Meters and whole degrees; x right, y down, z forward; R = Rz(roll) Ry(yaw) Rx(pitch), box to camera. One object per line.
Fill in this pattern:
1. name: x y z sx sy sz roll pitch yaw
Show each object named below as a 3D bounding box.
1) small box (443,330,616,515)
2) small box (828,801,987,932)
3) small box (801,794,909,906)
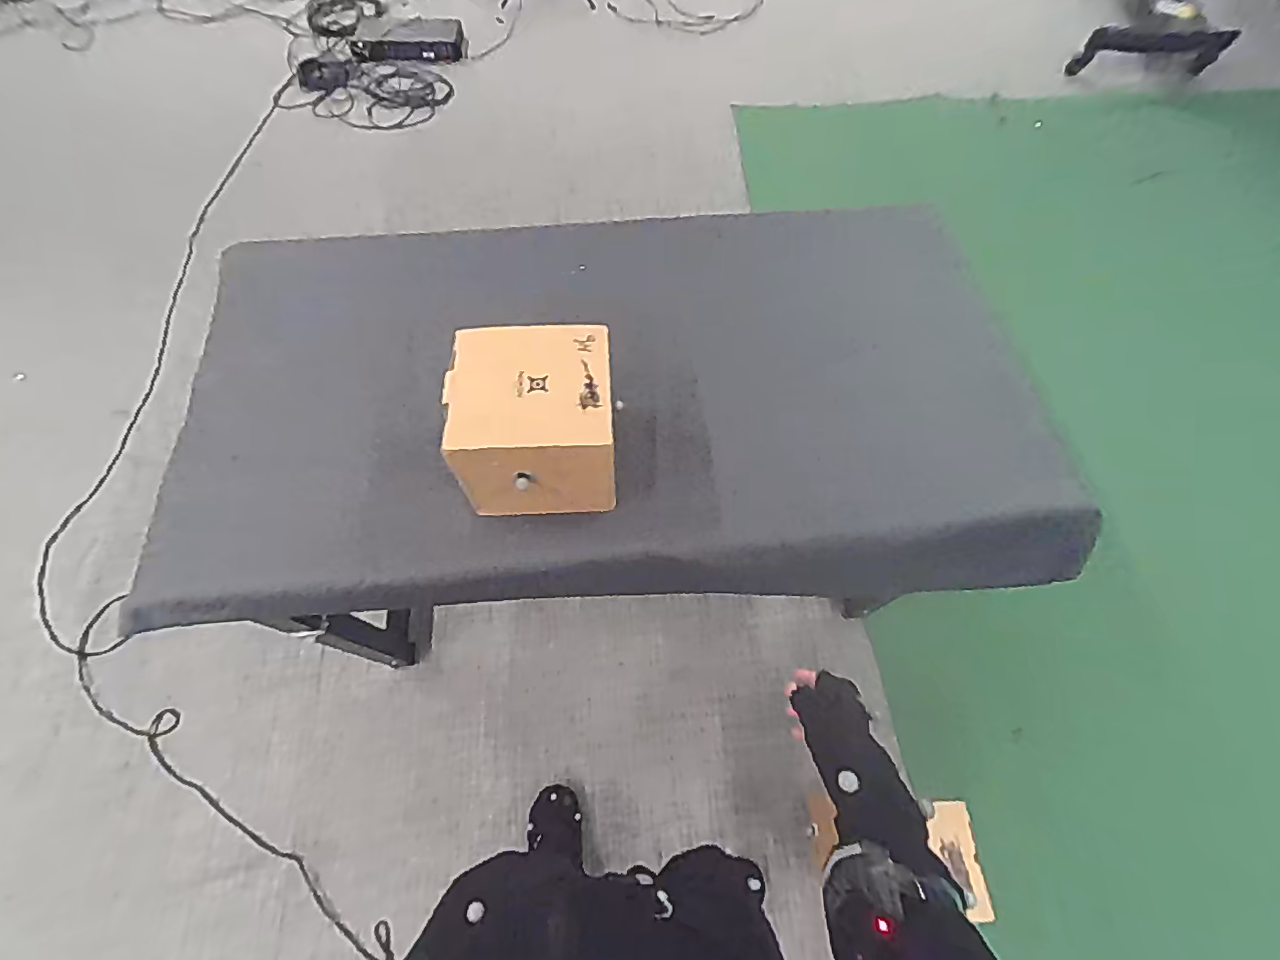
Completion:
1. small box: -0.120 -0.063 0.663 0.179 0.176 0.168 -2 63 -2
2. small box: 0.453 0.664 0.946 0.179 0.176 0.168 -1 62 -1
3. small box: 0.445 0.738 1.094 0.179 0.176 0.168 -2 62 -1
